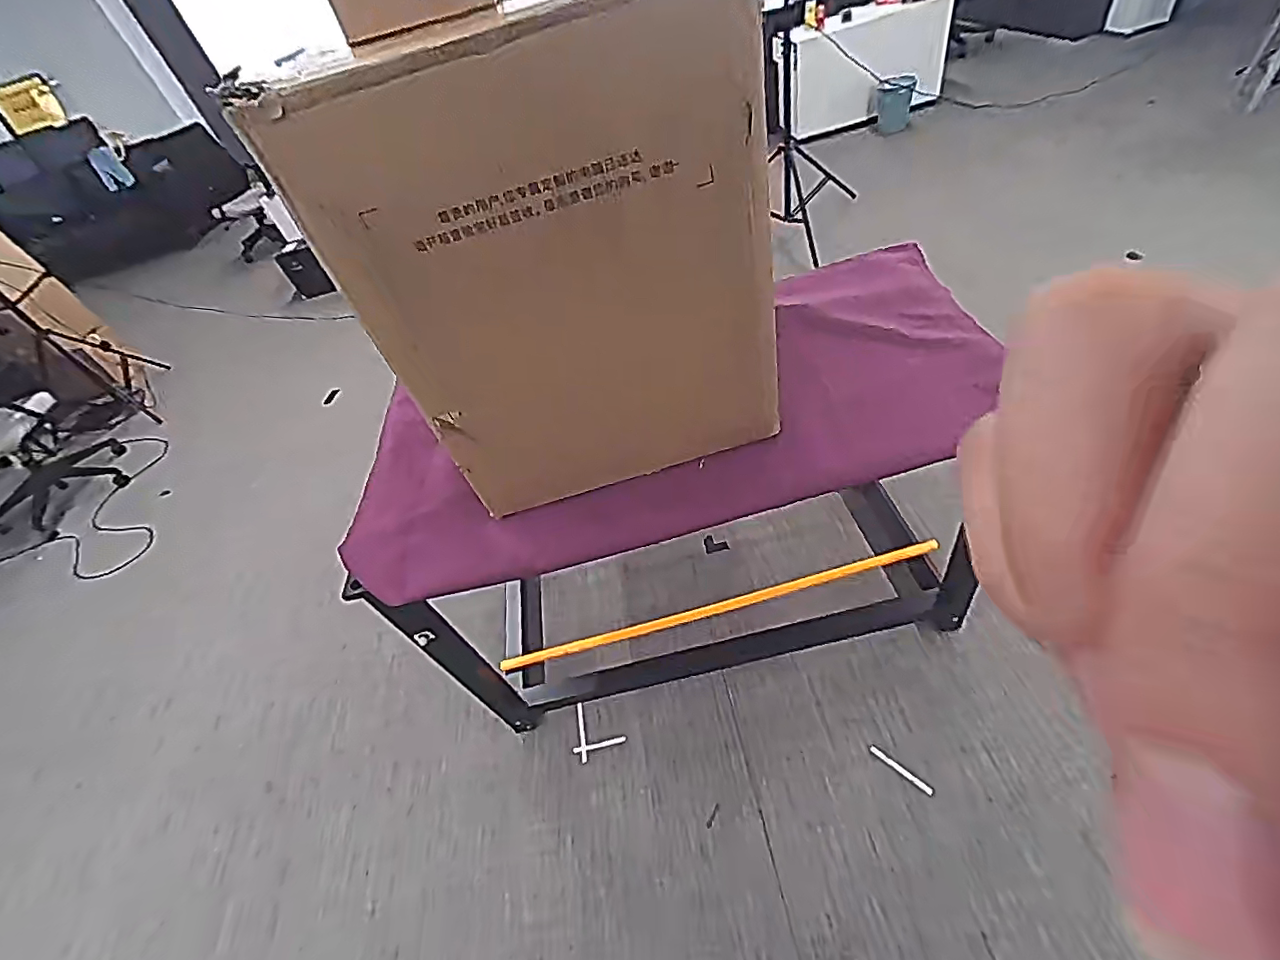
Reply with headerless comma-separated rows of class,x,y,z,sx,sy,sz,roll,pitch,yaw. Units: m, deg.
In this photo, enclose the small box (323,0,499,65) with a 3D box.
small box,-0.274,-0.603,0.609,0.179,0.176,0.168,-14,46,3
